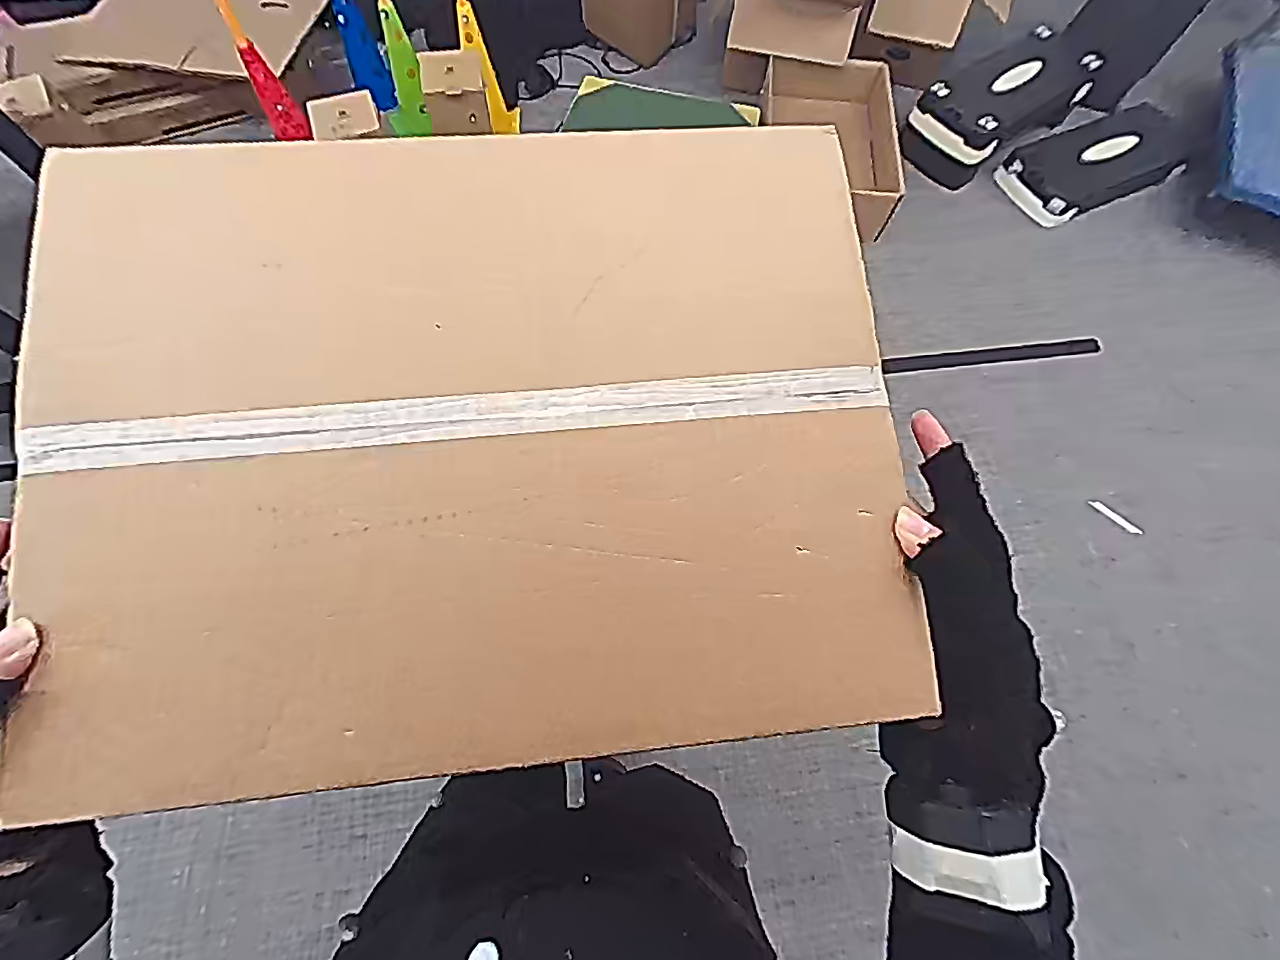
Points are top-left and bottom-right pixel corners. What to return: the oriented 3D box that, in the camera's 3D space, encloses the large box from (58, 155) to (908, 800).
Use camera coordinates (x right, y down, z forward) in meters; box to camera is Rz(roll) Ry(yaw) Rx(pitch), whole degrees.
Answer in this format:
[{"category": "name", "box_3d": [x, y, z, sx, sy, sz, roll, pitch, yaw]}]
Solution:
[{"category": "large box", "box_3d": [-0.087, 0.001, 0.426, 0.408, 0.320, 0.320, -5, 81, -5]}]
